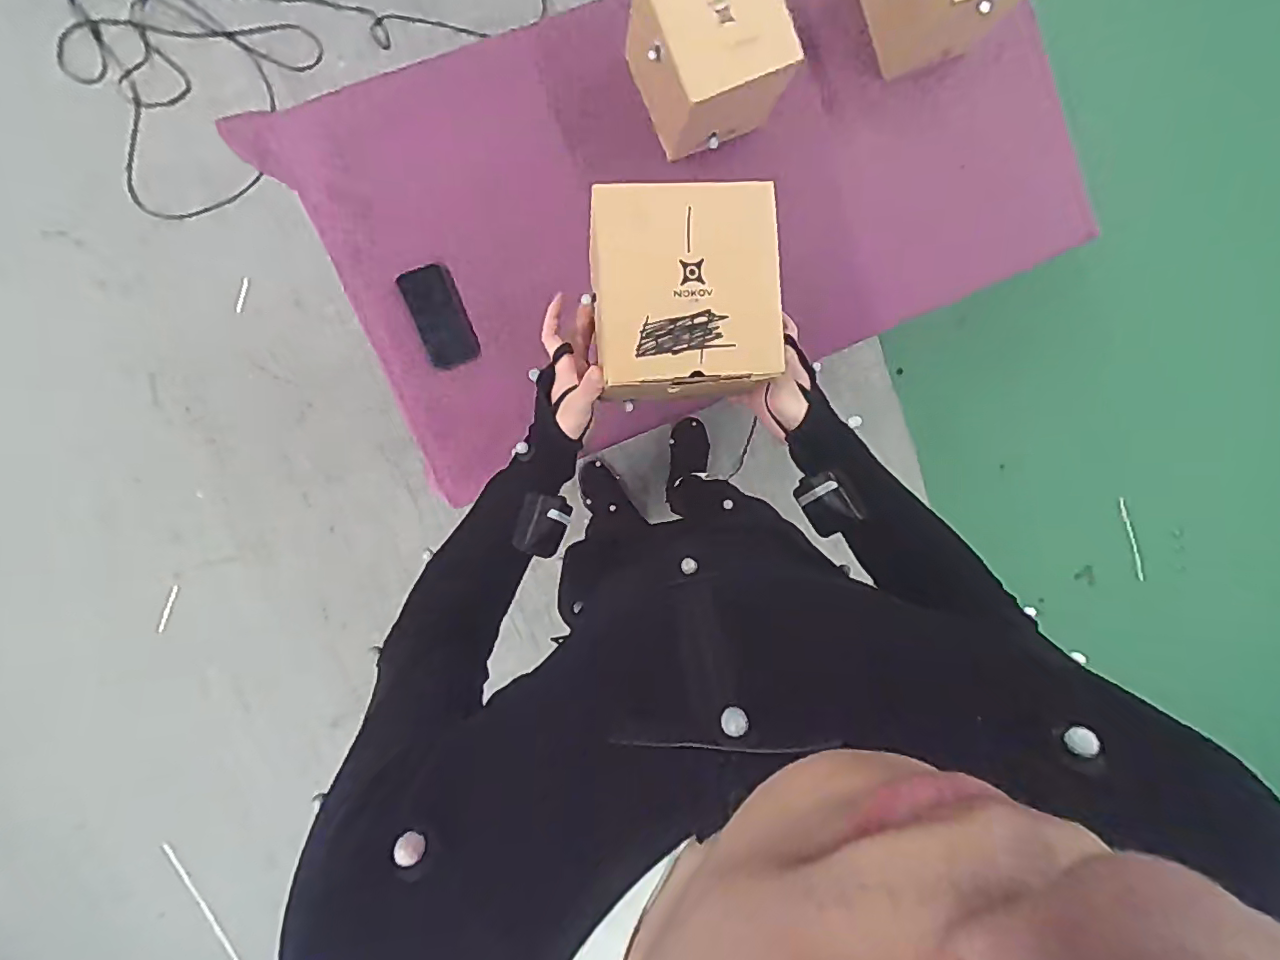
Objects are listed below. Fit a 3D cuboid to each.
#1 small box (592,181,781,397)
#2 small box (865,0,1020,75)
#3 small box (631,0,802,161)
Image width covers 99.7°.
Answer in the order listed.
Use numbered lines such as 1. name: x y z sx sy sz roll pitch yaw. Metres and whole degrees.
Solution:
1. small box: 0.038 -0.179 0.558 0.168 0.176 0.179 -3 93 -5
2. small box: 0.452 -0.754 0.791 0.168 0.176 0.179 -22 96 -3
3. small box: 0.095 -0.600 0.767 0.168 0.176 0.179 -24 98 -3
